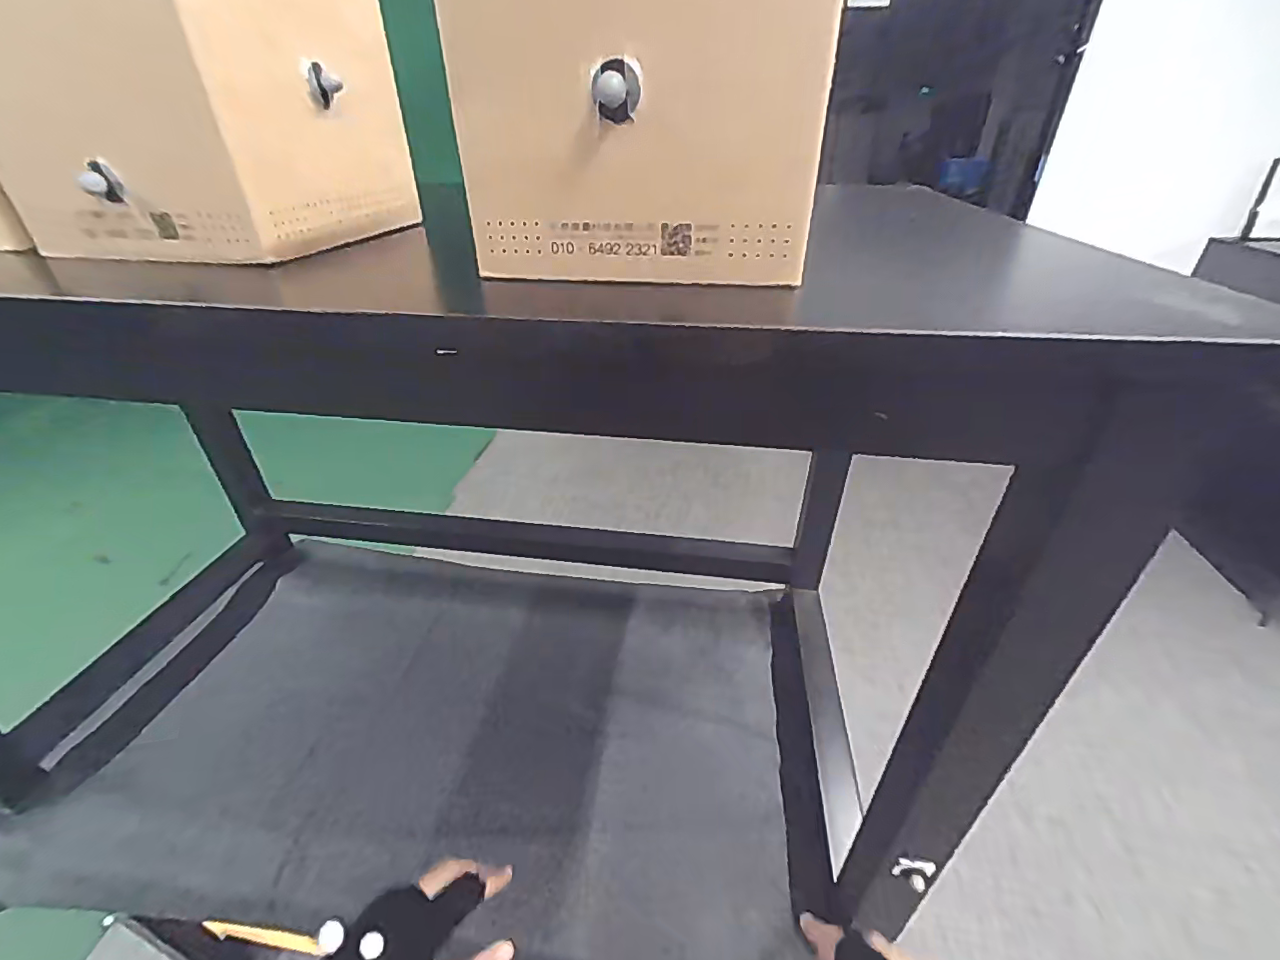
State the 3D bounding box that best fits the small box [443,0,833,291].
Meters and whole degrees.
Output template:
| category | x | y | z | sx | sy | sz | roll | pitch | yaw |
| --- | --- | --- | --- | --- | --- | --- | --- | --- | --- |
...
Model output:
| category | x | y | z | sx | sy | sz | roll | pitch | yaw |
| --- | --- | --- | --- | --- | --- | --- | --- | --- | --- |
| small box | 0.010 | -0.211 | 0.302 | 0.168 | 0.176 | 0.179 | 5 | 33 | 8 |
